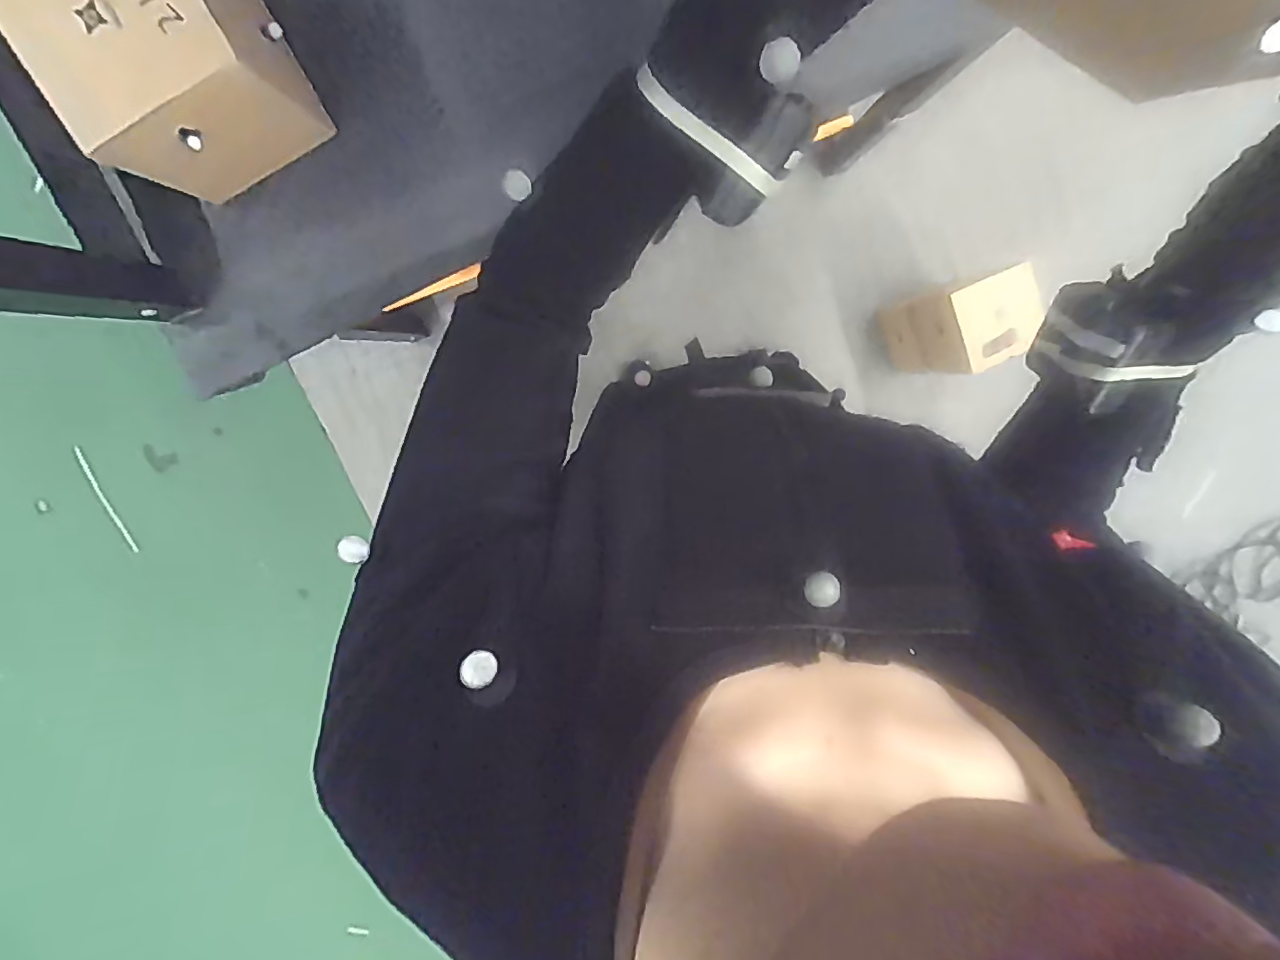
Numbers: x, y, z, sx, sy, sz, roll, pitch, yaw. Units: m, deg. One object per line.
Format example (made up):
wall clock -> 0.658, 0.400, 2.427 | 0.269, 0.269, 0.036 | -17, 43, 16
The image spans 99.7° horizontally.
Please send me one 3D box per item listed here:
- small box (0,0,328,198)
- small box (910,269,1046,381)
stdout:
small box -> -0.470, -0.421, 0.550 | 0.179, 0.176, 0.168 | -26, 102, 5
small box -> 0.716, -0.326, 1.160 | 0.168, 0.176, 0.179 | -22, 101, 5
